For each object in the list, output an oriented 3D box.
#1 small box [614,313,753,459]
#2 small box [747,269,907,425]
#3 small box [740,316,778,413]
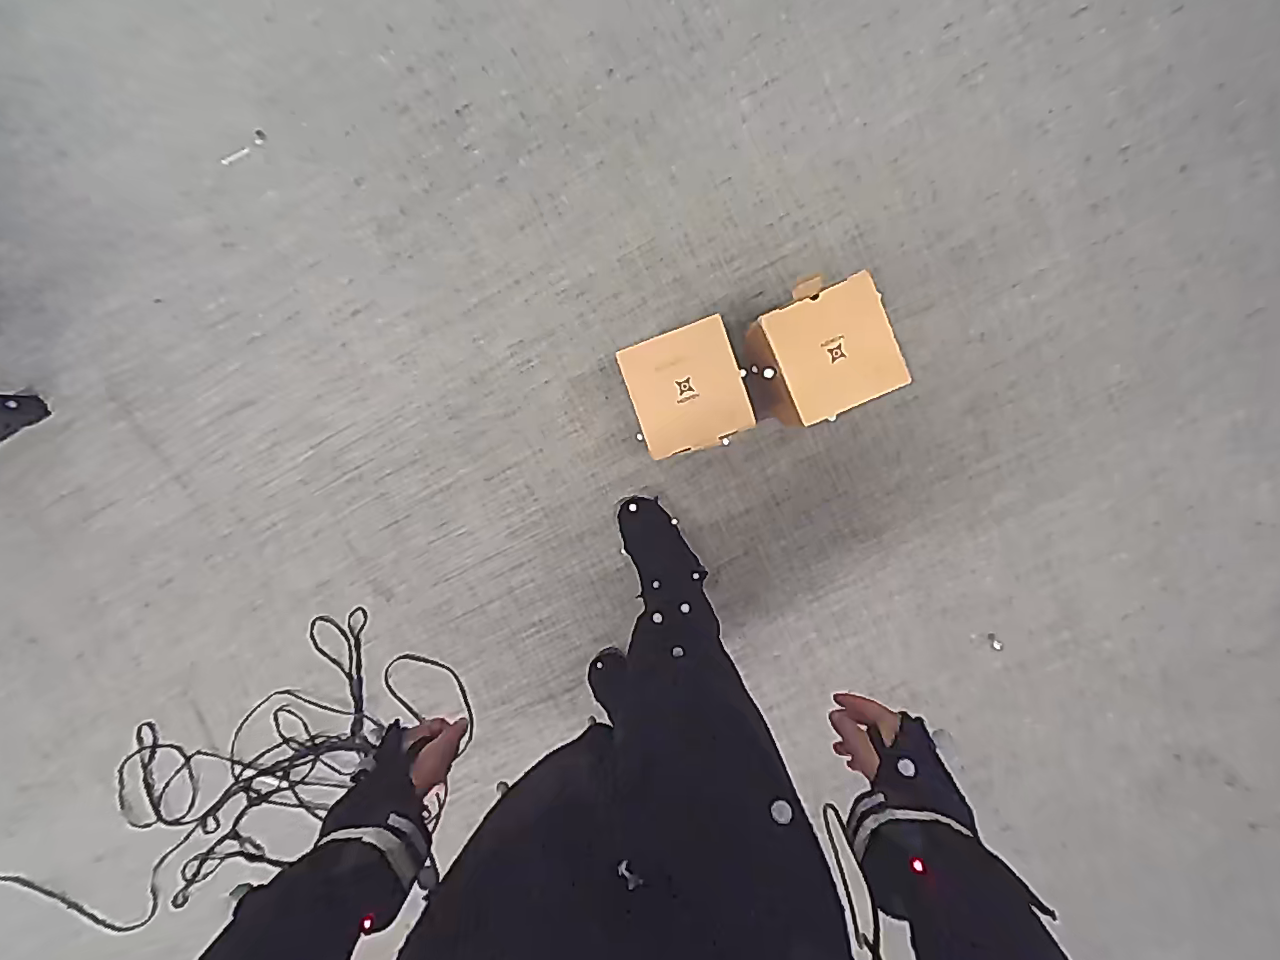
[{"bbox_3d":[0.070,-0.146,0.876,0.168,0.176,0.179,-20,94,4],"label":"small box"},{"bbox_3d":[0.283,-0.199,0.856,0.168,0.176,0.179,-23,94,6],"label":"small box"},{"bbox_3d":[0.299,-0.235,1.015,0.168,0.176,0.179,-23,94,5],"label":"small box"}]
